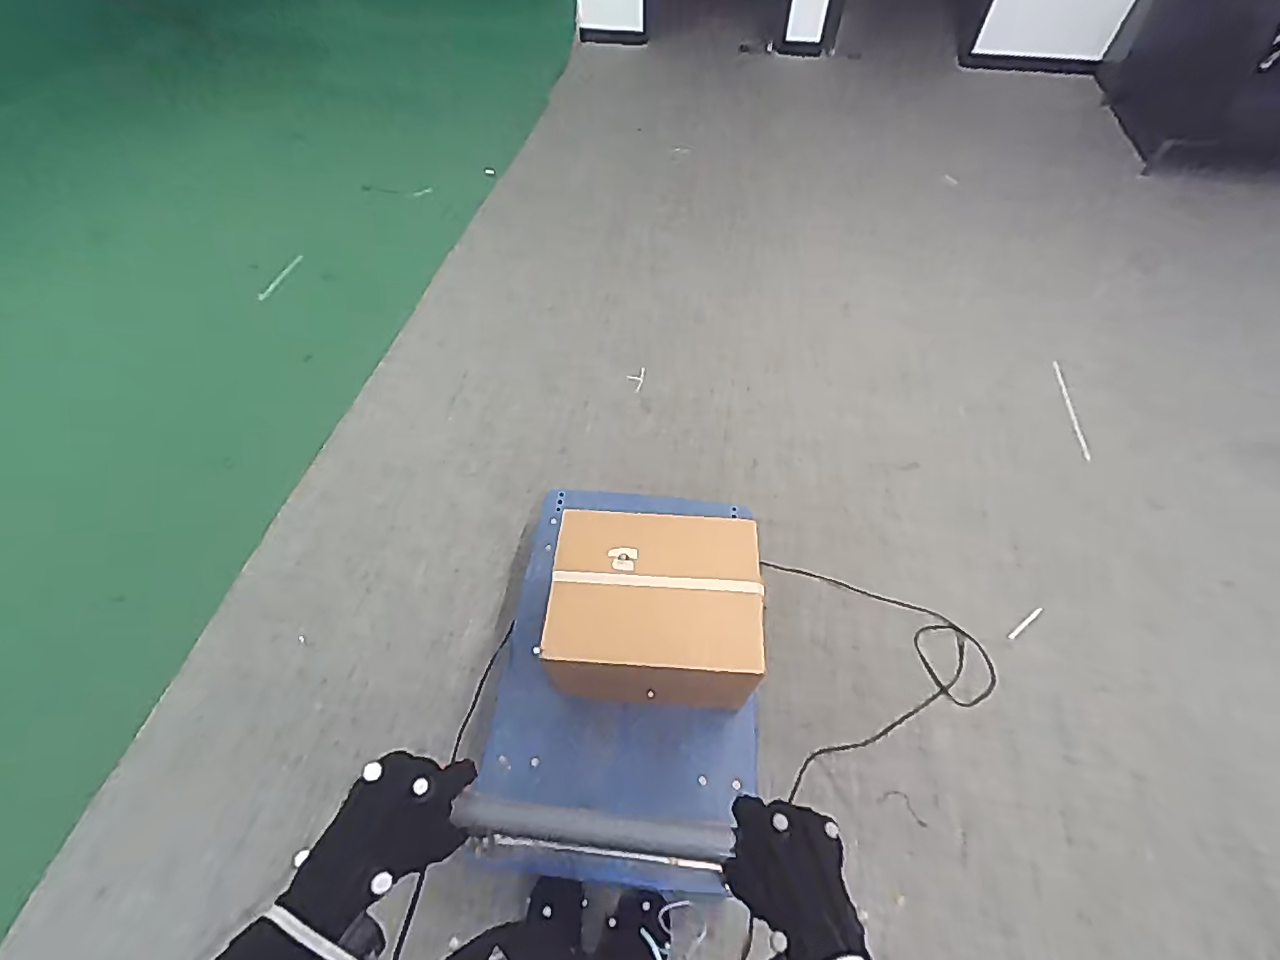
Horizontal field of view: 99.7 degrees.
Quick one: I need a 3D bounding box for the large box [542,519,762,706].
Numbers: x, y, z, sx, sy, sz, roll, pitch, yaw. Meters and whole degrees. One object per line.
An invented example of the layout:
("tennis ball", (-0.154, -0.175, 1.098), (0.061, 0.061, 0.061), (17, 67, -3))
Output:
("large box", (0.034, 0.295, 1.174), (0.408, 0.320, 0.320), (2, 55, 4))
